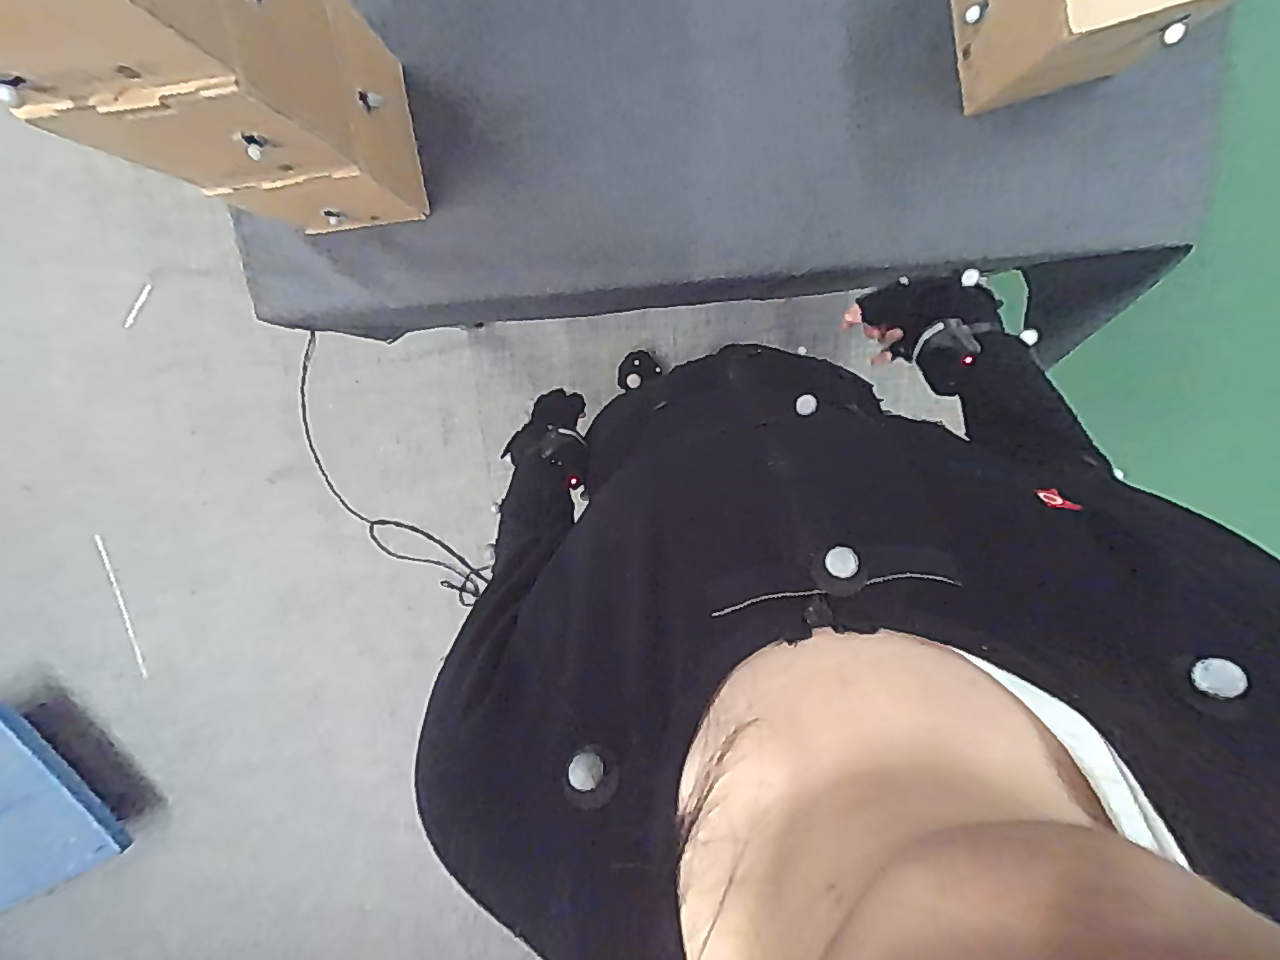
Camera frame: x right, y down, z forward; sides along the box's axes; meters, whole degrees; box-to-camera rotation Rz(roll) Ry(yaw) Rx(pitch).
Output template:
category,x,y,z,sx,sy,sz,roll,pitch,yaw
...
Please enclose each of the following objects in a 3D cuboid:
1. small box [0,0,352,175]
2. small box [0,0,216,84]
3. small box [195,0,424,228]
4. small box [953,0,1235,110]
category,x,y,z,sx,sy,sz,roll,pitch,yaw
small box,-0.361,-0.362,0.430,0.168,0.176,0.179,-6,103,2
small box,-0.365,-0.332,0.268,0.168,0.176,0.179,-7,103,1
small box,-0.360,-0.394,0.589,0.168,0.176,0.179,-6,103,3
small box,0.446,-0.511,0.537,0.179,0.176,0.168,-14,102,5
